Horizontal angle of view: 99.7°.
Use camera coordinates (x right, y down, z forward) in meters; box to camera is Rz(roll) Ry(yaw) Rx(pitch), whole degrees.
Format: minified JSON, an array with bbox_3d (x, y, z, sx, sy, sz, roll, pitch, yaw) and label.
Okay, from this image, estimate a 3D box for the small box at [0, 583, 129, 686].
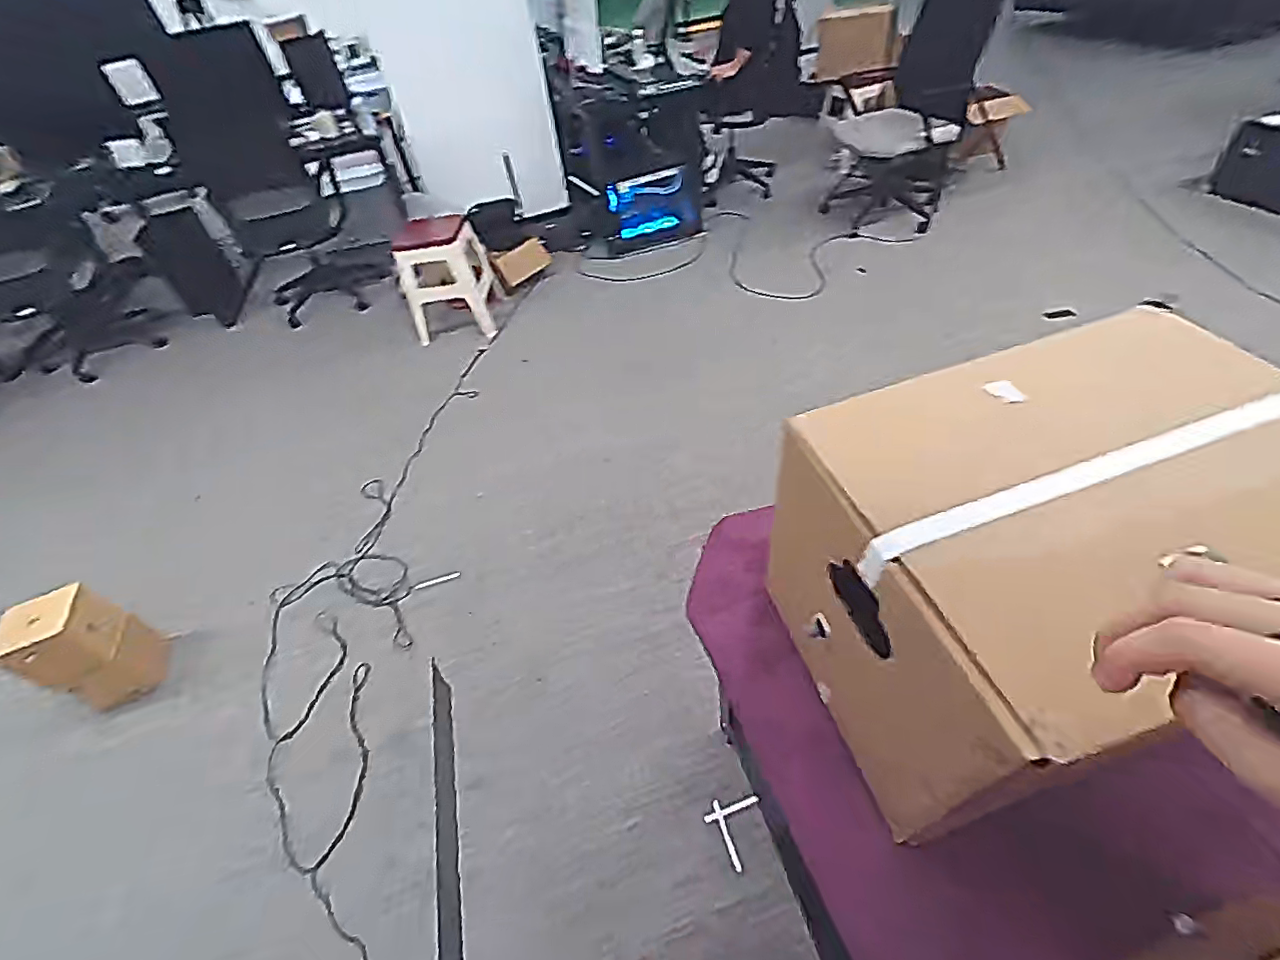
[{"bbox_3d":[-1.526,0.411,1.435,0.179,0.176,0.168,-23,48,-11],"label":"small box"}]
